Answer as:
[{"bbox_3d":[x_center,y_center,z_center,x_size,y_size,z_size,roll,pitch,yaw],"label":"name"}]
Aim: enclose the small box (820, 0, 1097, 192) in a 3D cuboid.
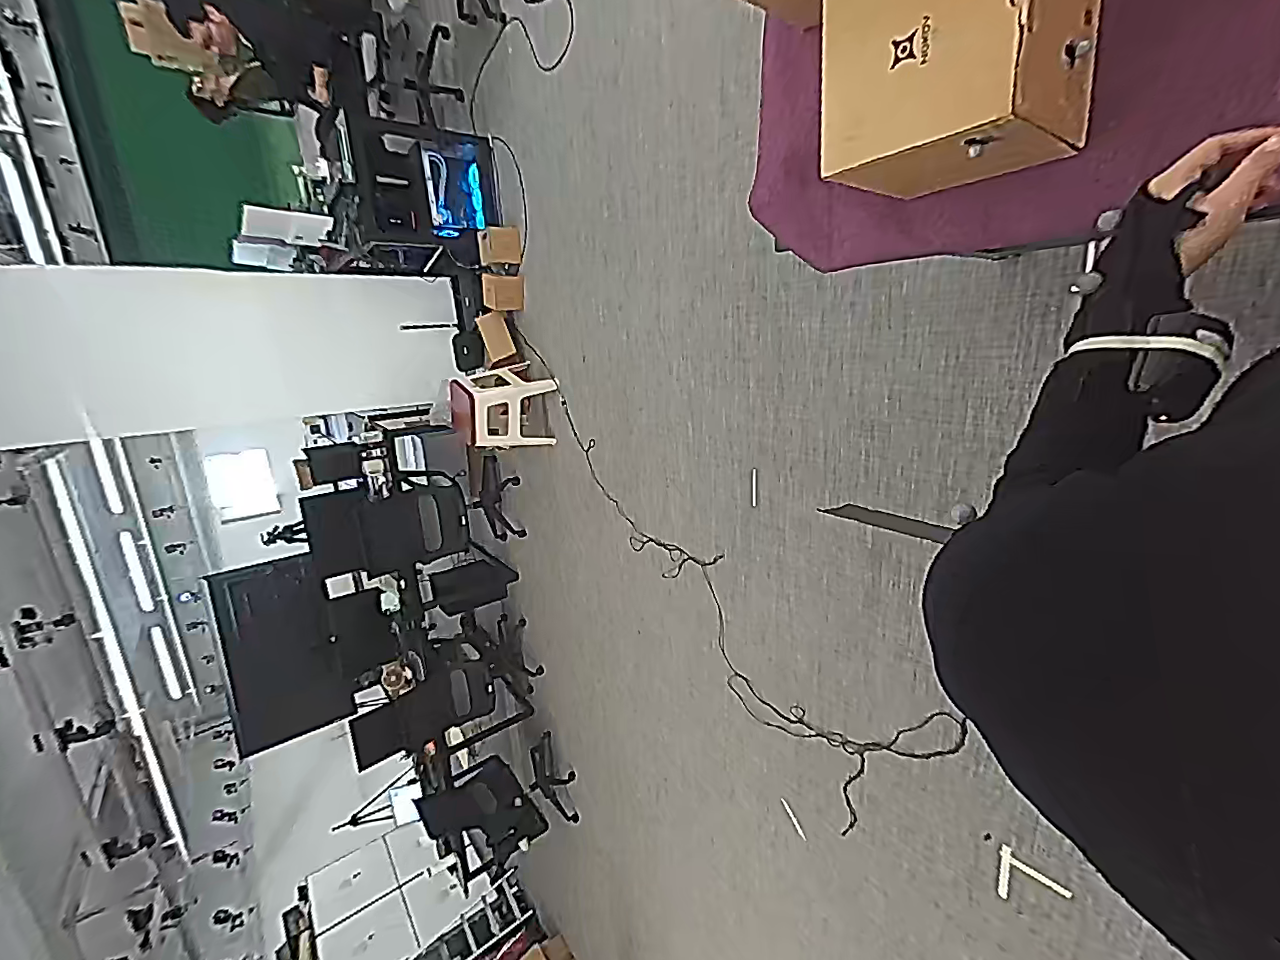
[{"bbox_3d":[0.296,-0.393,0.516,0.179,0.176,0.168,12,110,52],"label":"small box"}]
